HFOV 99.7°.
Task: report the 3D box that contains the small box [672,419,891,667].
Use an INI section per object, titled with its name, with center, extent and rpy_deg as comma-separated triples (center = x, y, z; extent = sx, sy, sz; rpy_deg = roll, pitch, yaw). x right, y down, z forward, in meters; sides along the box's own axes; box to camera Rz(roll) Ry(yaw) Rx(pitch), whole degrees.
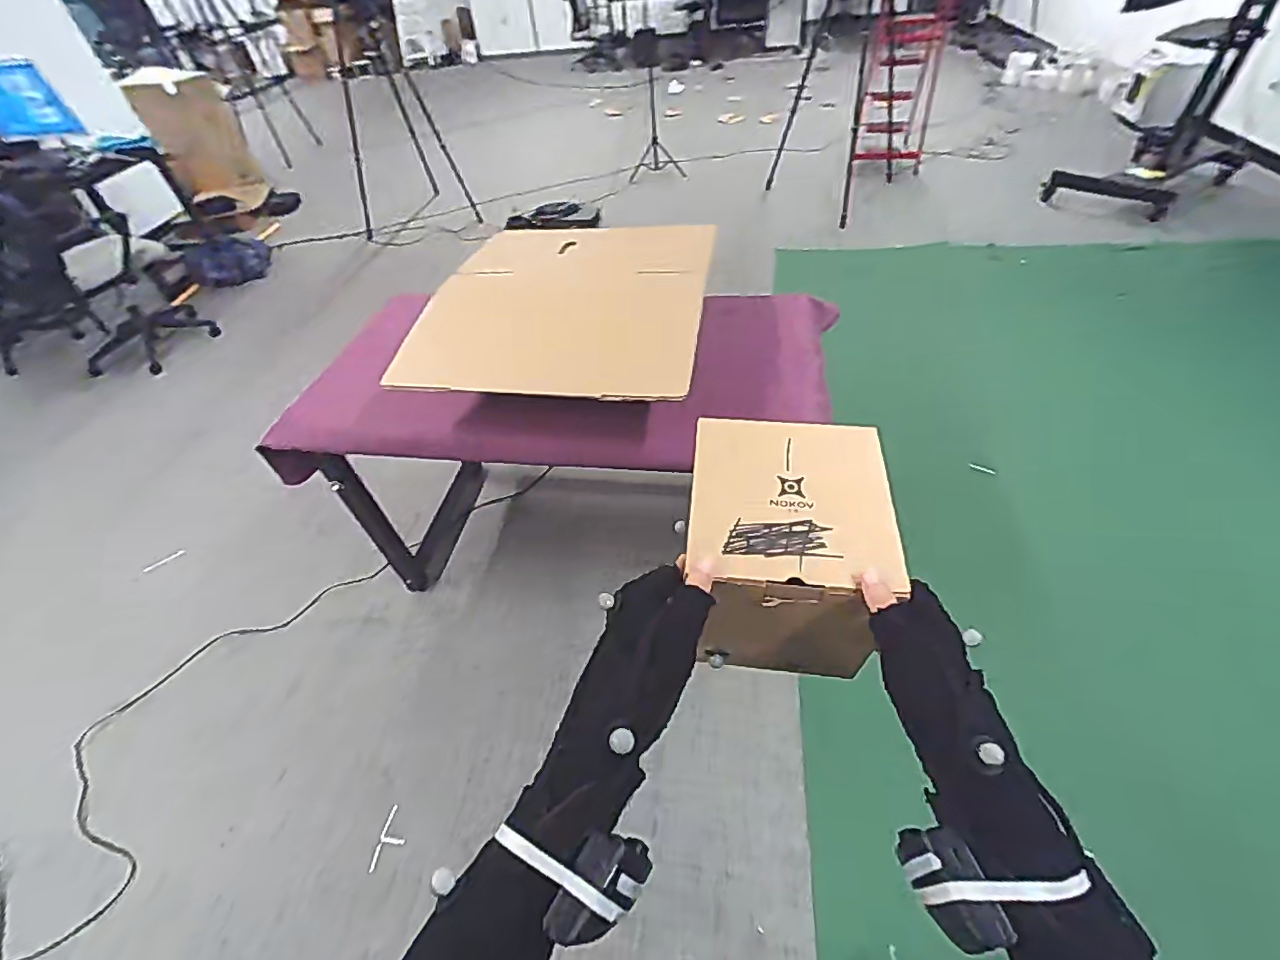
[small box]
center = 0.121, 0.063, 0.521
extent = 0.168, 0.176, 0.179
rpy_deg = 4, 50, 7
